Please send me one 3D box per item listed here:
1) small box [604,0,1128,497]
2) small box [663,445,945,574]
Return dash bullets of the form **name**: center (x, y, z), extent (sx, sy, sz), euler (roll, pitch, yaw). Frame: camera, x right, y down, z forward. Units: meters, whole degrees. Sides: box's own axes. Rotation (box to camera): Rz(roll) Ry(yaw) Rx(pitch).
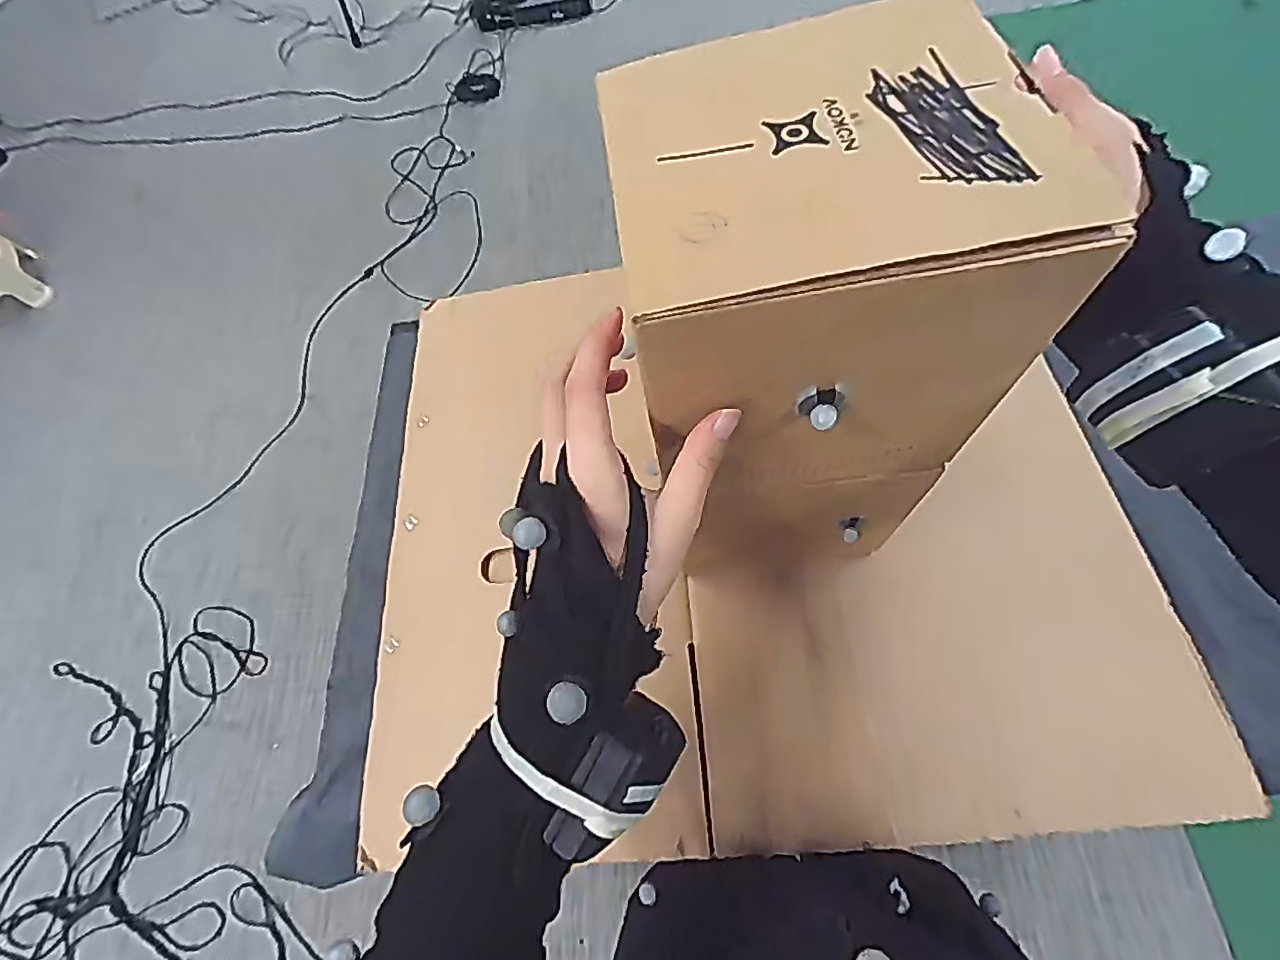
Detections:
- **small box**: center (0.085, -0.105, 0.295), extent (0.179, 0.176, 0.168), euler (-9, 63, 5)
- **small box**: center (0.106, -0.032, 0.441), extent (0.179, 0.176, 0.168), euler (-9, 63, 5)
